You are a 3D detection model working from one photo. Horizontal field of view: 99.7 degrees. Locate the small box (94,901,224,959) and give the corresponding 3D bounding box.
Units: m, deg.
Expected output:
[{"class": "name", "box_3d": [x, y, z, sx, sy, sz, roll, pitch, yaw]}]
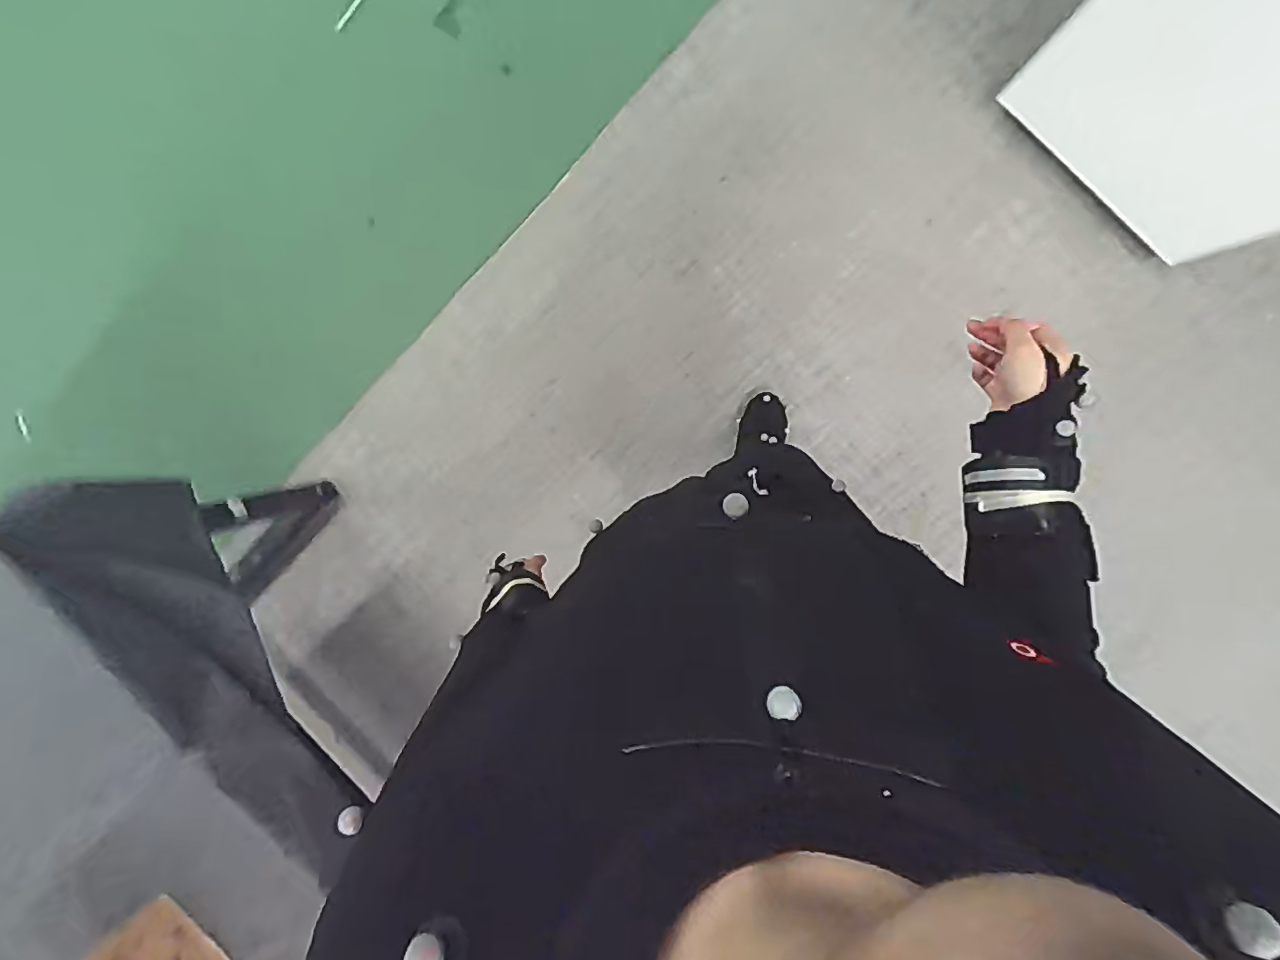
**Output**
[{"class": "small box", "box_3d": [-0.731, 0.754, 0.752, 0.179, 0.176, 0.168, -43, 90, 10]}]
